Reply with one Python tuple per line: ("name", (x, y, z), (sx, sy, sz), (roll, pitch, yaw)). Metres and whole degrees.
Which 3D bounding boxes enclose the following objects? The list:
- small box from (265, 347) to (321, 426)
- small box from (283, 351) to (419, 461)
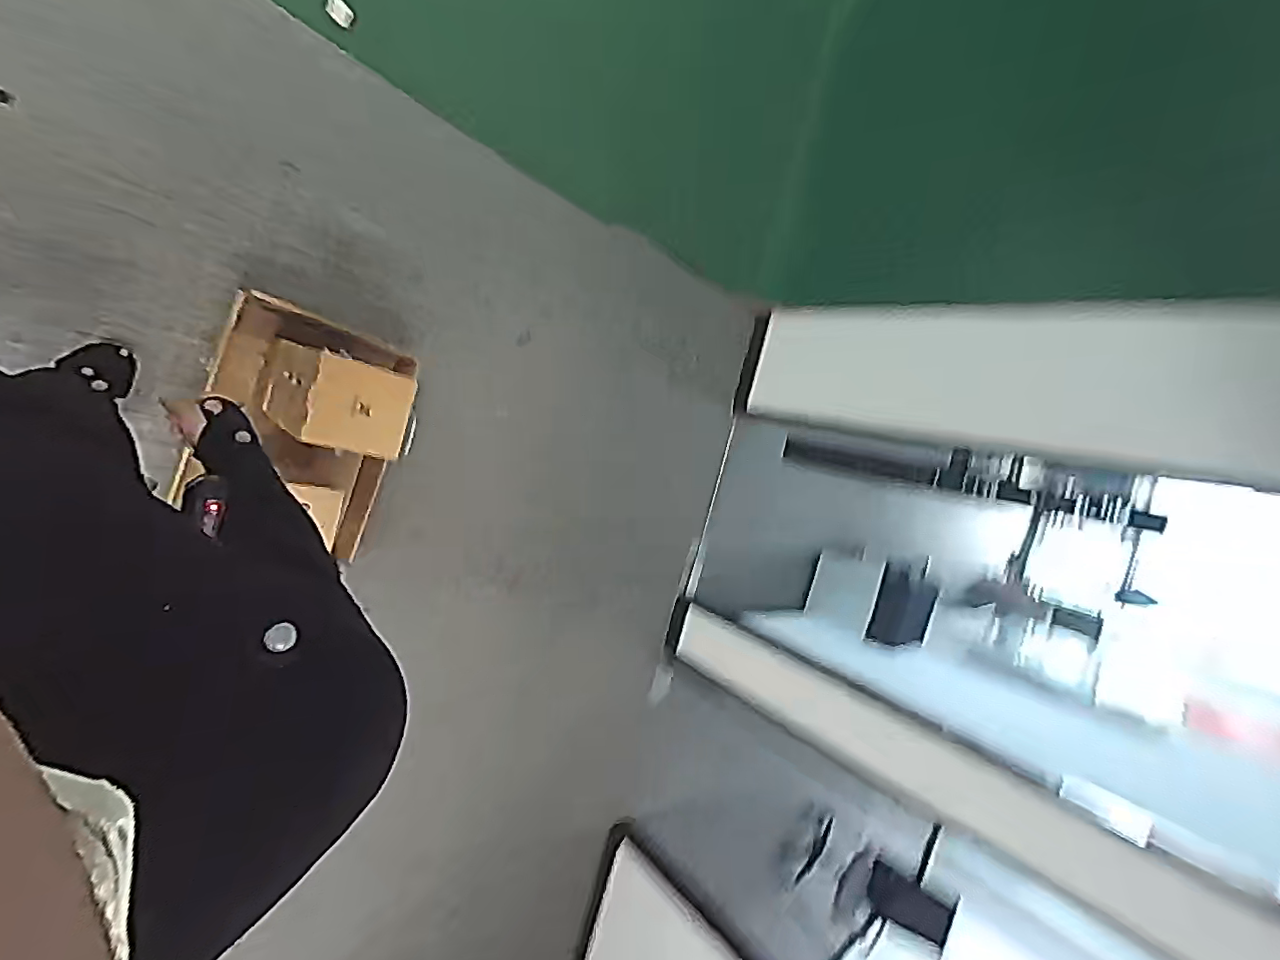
("small box", (-0.681, -0.185, 1.179), (0.179, 0.176, 0.168), (17, 90, -46))
("small box", (-0.571, -0.148, 1.066), (0.179, 0.176, 0.168), (15, 92, -44))
